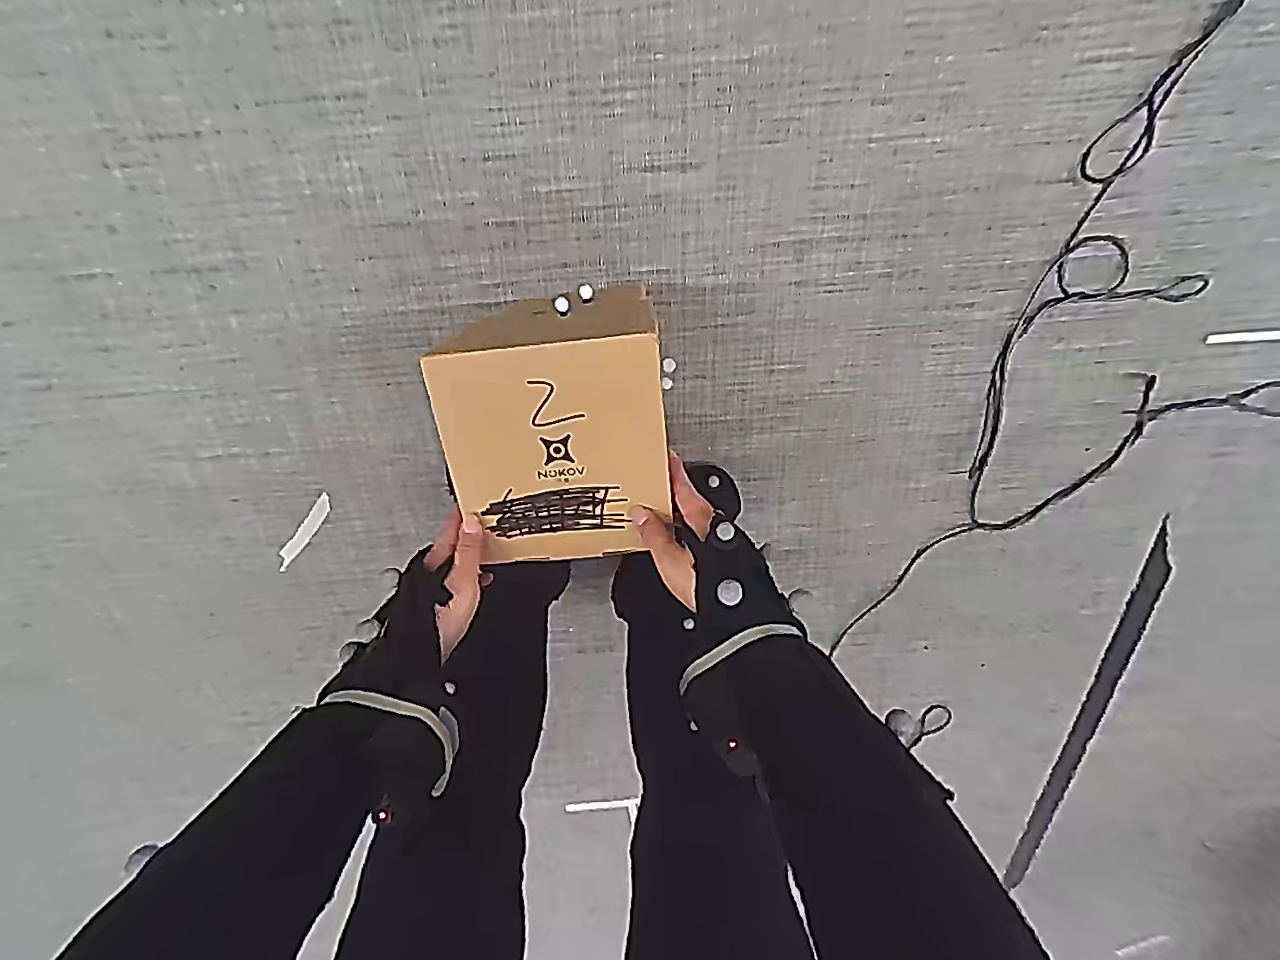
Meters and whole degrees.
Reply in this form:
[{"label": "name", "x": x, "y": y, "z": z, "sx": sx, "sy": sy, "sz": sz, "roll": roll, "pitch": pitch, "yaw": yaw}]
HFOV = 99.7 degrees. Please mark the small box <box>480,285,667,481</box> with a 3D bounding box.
[{"label": "small box", "x": -0.066, "y": -0.122, "z": 0.626, "sx": 0.168, "sy": 0.176, "sz": 0.179, "roll": -9, "pitch": 116, "yaw": 3}]
